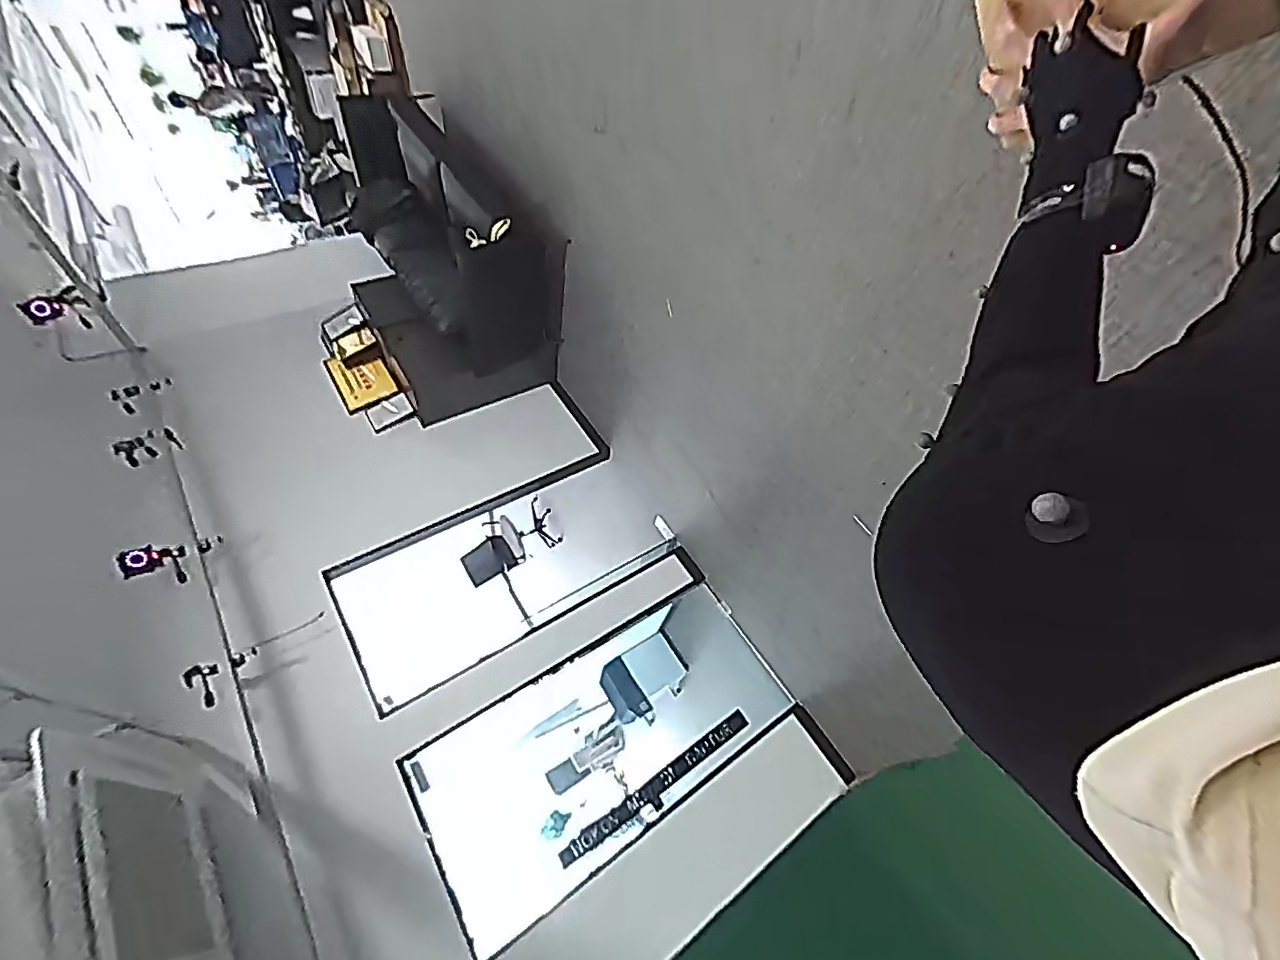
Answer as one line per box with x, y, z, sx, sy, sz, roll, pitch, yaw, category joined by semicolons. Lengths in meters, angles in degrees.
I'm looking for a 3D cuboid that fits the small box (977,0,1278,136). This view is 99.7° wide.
0.463;-0.476;0.521;0.168;0.176;0.179;12;128;63;small box
